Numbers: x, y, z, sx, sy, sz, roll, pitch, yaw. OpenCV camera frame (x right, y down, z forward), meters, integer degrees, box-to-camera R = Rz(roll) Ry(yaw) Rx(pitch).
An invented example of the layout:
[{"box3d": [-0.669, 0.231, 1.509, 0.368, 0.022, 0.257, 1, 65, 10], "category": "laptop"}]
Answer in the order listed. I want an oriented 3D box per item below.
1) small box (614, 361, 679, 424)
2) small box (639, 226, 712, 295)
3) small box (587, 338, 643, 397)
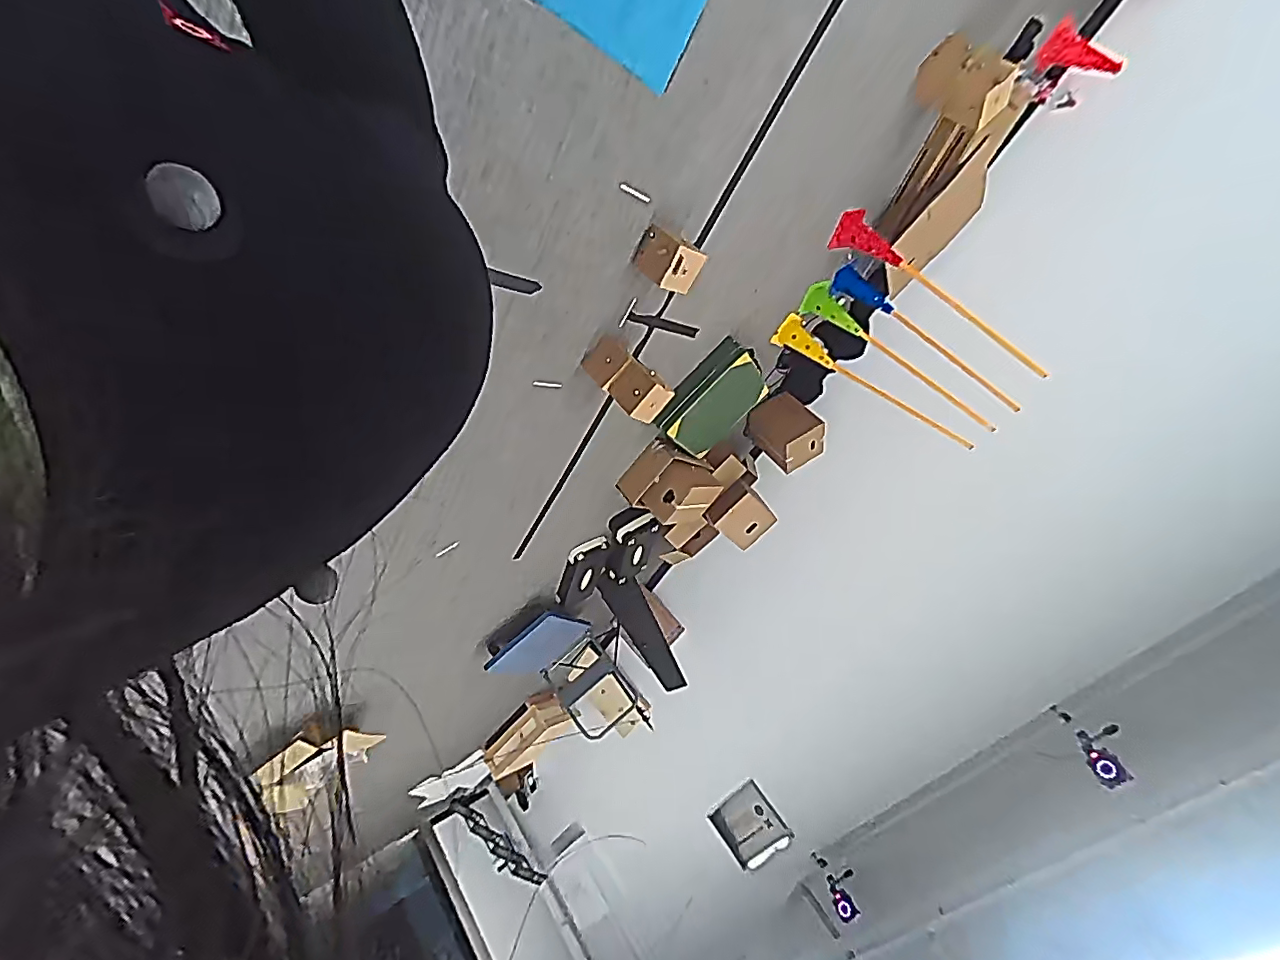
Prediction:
[{"box3d": [0.022, -0.365, 2.251, 0.179, 0.176, 0.168, -47, 153, 17], "category": "small box"}, {"box3d": [0.128, -0.827, 2.035, 0.179, 0.176, 0.168, -9, 140, -49], "category": "small box"}, {"box3d": [-0.093, -0.475, 2.301, 0.179, 0.176, 0.168, -46, 155, 15], "category": "small box"}]
